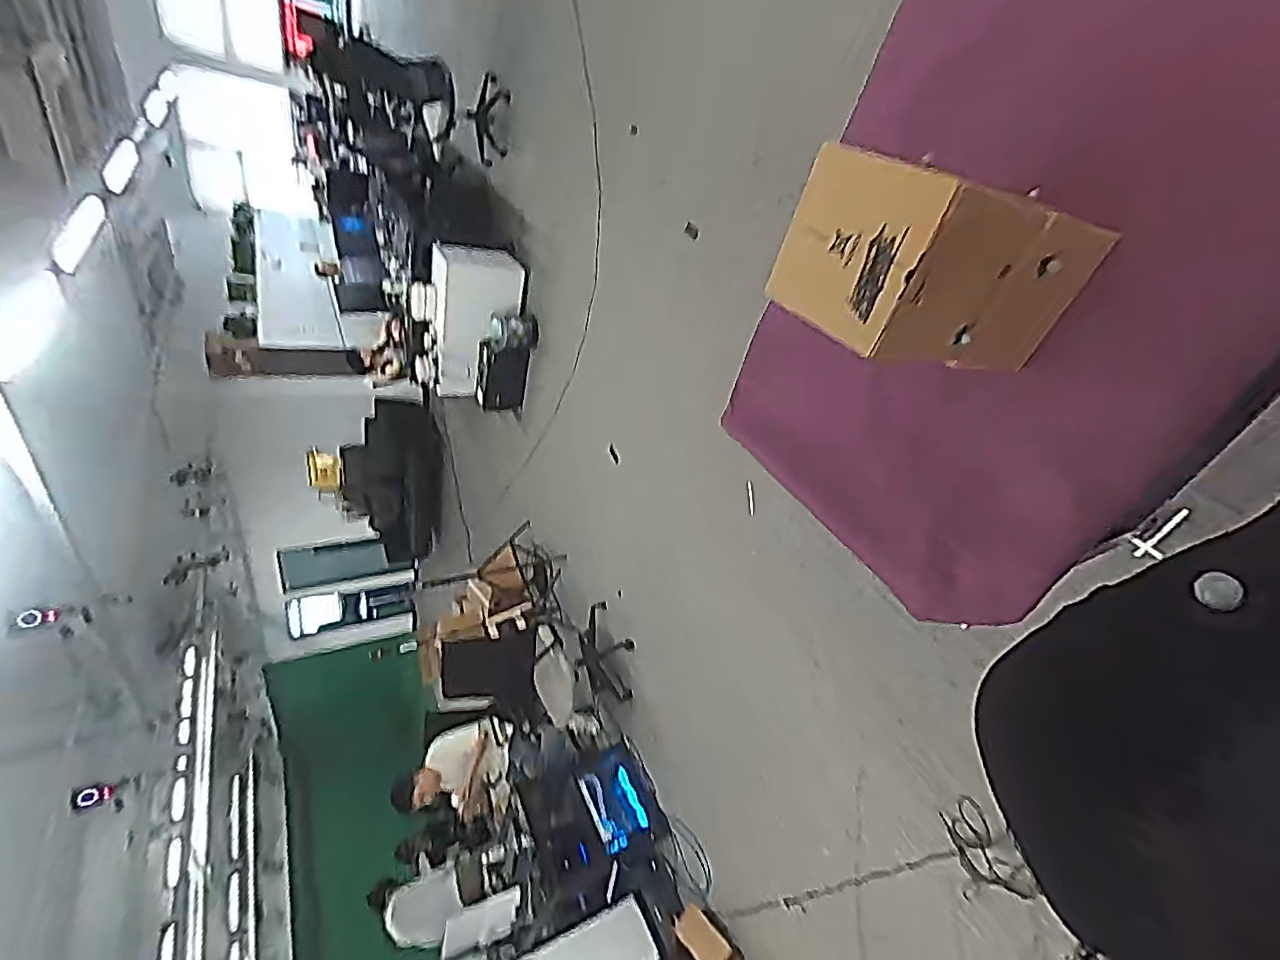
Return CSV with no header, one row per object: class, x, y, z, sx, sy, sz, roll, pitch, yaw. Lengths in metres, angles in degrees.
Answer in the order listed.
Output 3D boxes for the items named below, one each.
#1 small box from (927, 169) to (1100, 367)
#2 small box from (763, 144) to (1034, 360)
small box,0.419,-0.257,0.676,0.168,0.176,0.179,54,139,39
small box,0.276,-0.245,0.596,0.179,0.176,0.168,53,137,41
